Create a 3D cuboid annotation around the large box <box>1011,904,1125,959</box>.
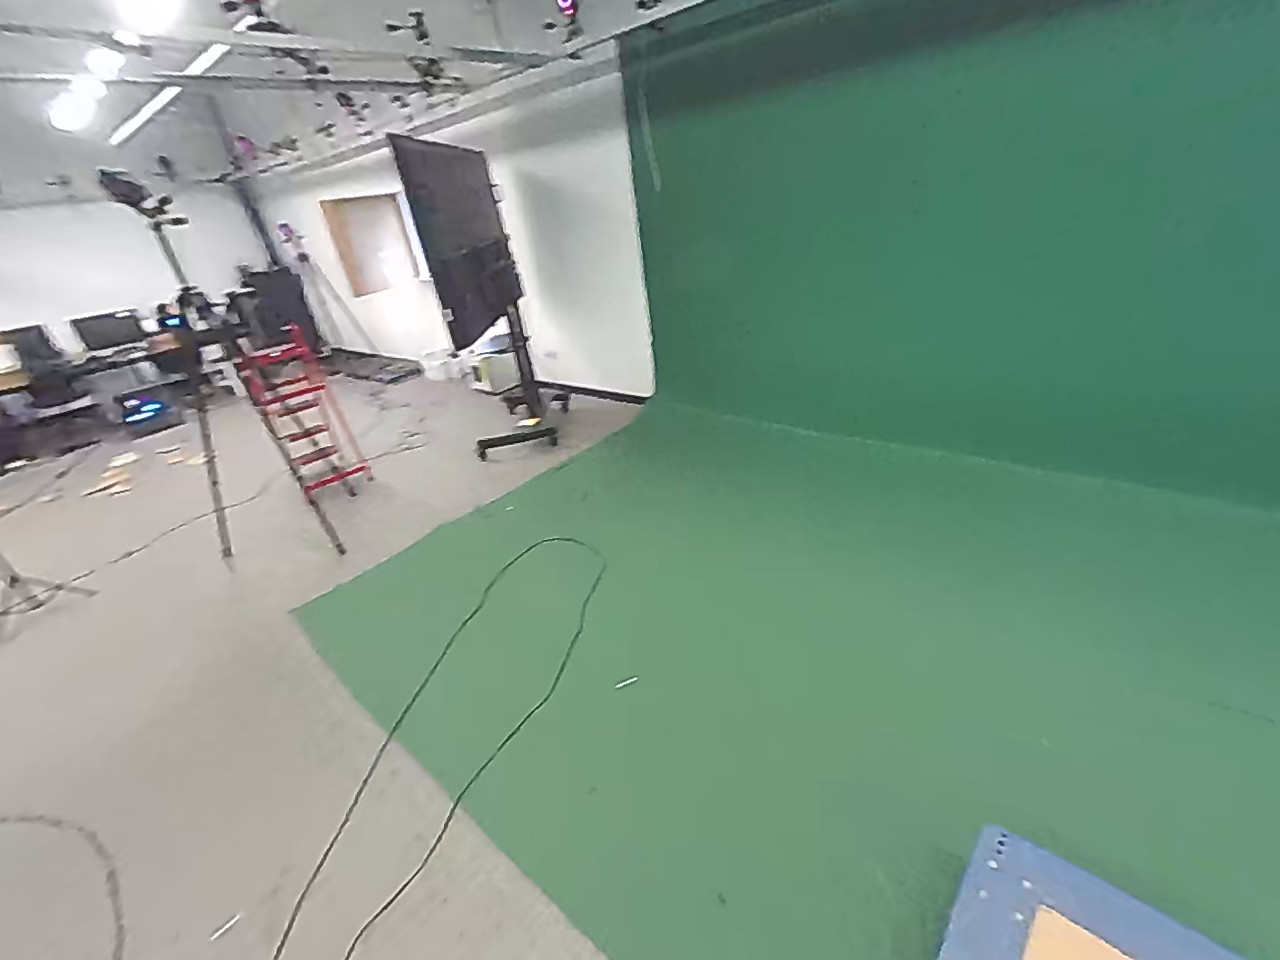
[{"bbox_3d":[0.699,1.011,0.822,0.320,0.320,0.408,20,38,41],"label":"large box"}]
